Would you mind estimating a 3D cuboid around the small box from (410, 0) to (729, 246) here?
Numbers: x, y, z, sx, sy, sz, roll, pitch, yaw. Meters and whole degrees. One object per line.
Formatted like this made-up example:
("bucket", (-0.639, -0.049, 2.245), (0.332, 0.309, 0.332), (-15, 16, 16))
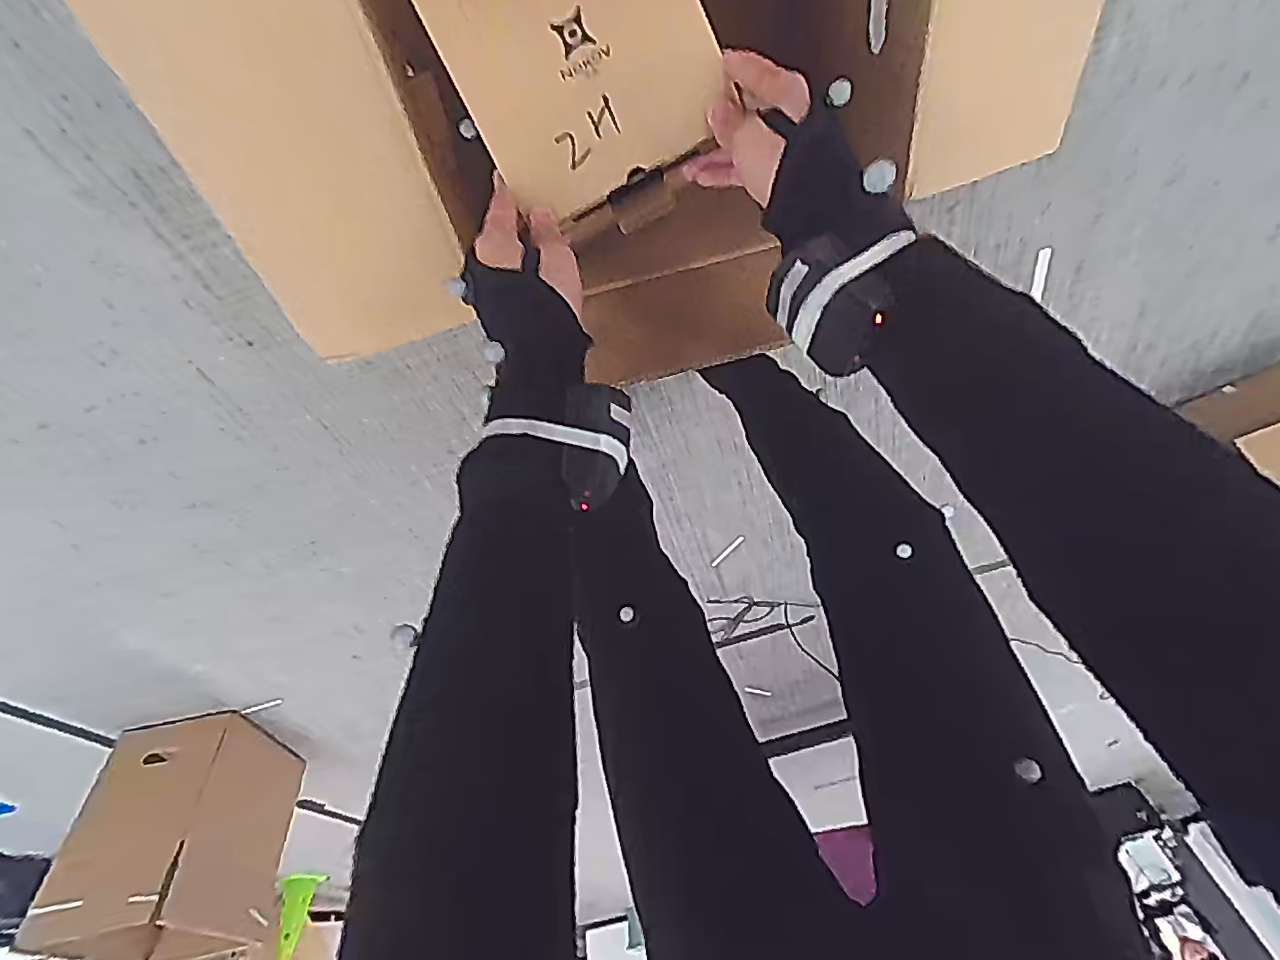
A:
("small box", (-0.051, -0.312, 0.436), (0.168, 0.176, 0.179), (-26, 109, 6))
